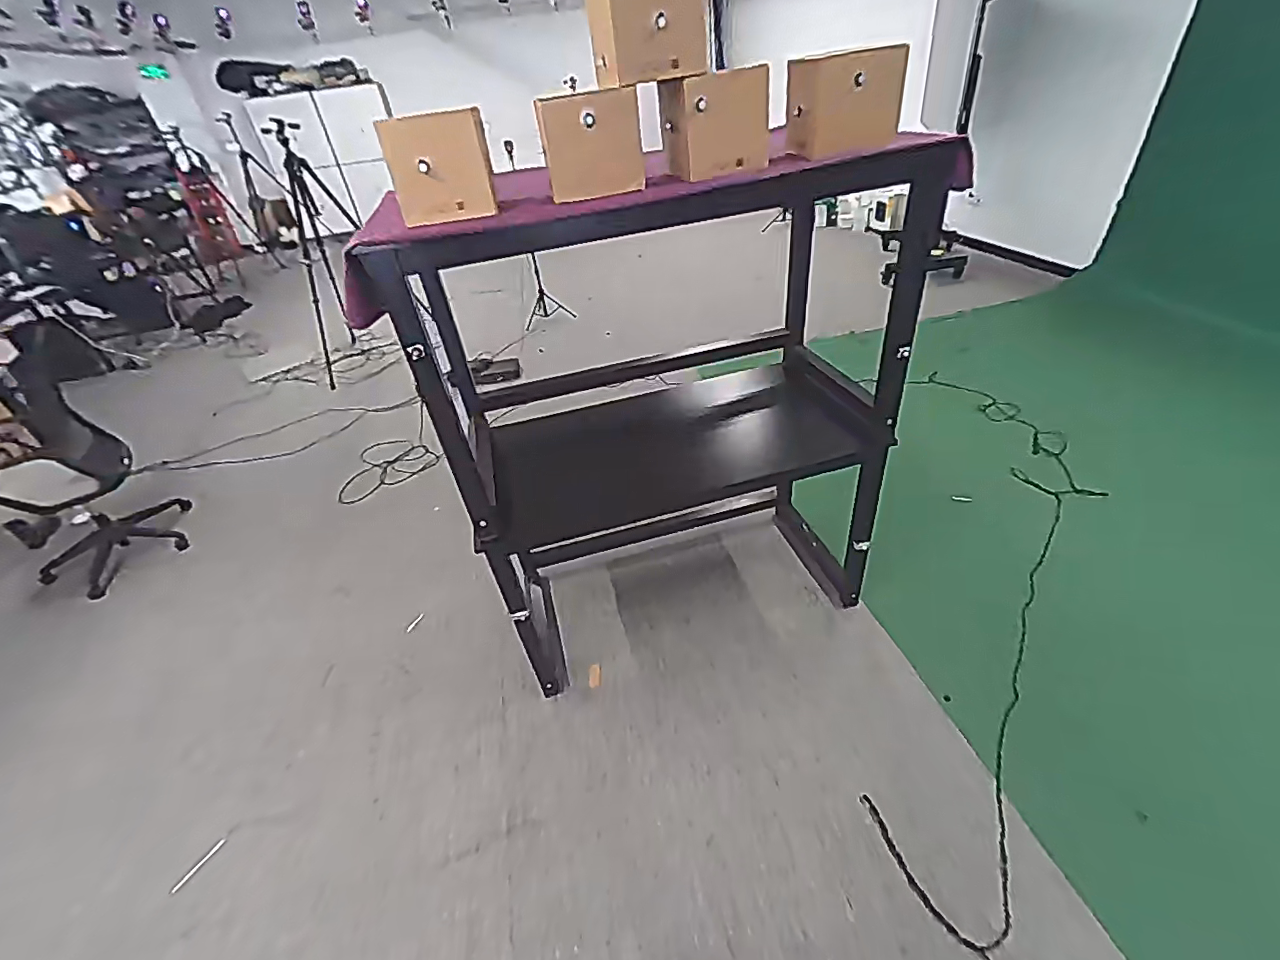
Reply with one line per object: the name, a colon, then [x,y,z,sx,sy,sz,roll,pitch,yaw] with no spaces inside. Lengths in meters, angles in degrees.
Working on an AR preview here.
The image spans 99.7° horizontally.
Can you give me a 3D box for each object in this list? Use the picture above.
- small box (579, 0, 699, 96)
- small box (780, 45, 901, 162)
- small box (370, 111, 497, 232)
small box: [-0.001,-0.798,0.960,0.168,0.176,0.179,-16,37,-9]
small box: [0.400,-0.765,1.106,0.179,0.176,0.168,-12,38,-4]
small box: [-0.371,-0.571,1.006,0.168,0.176,0.179,-12,35,-5]
